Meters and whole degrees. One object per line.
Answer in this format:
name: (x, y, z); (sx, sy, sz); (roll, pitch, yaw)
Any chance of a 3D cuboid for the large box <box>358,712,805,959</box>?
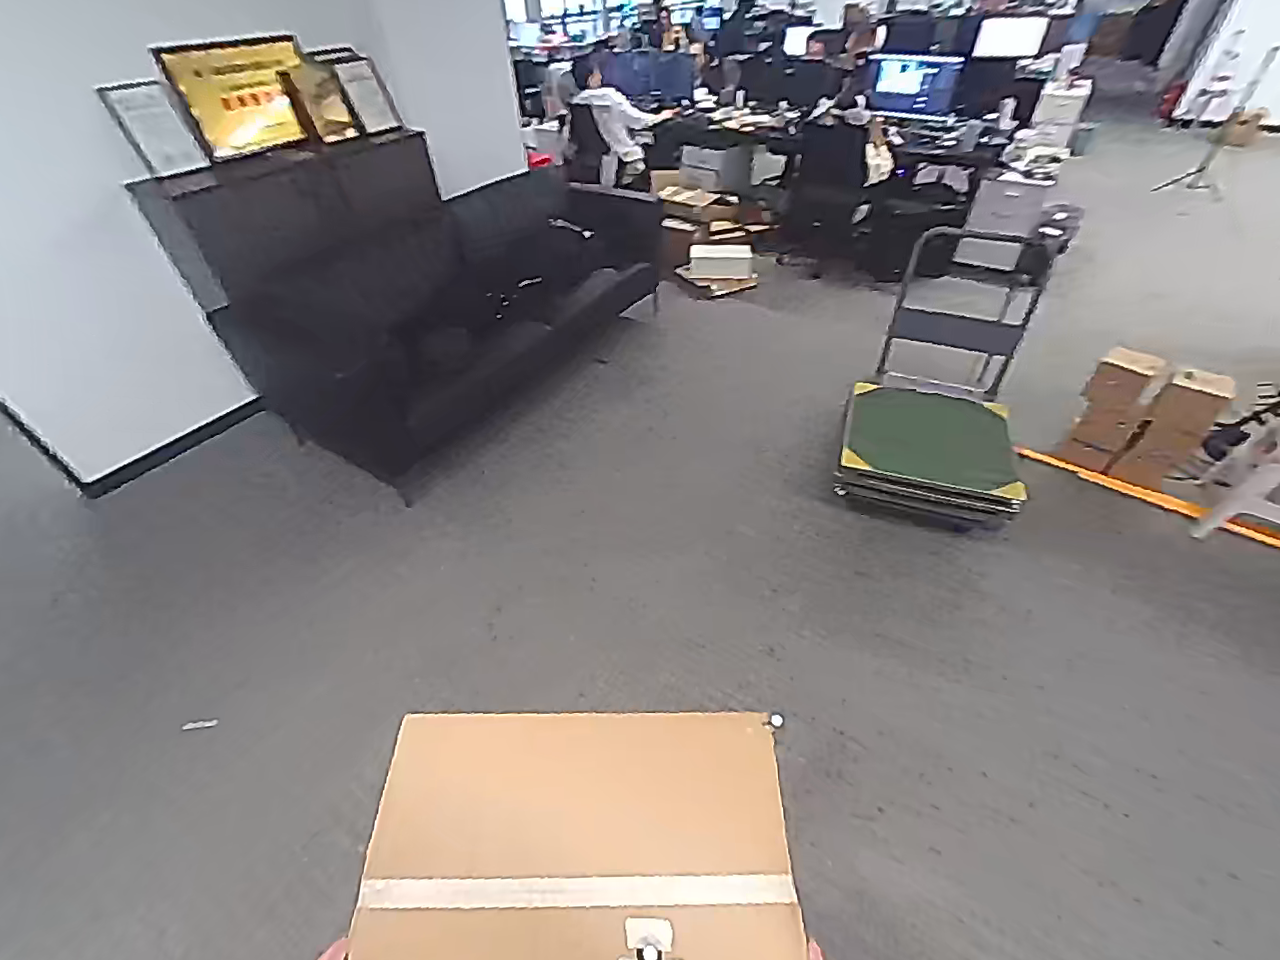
large box: (-0.056, 0.481, 0.625); (0.408, 0.320, 0.320); (-1, 53, -2)
